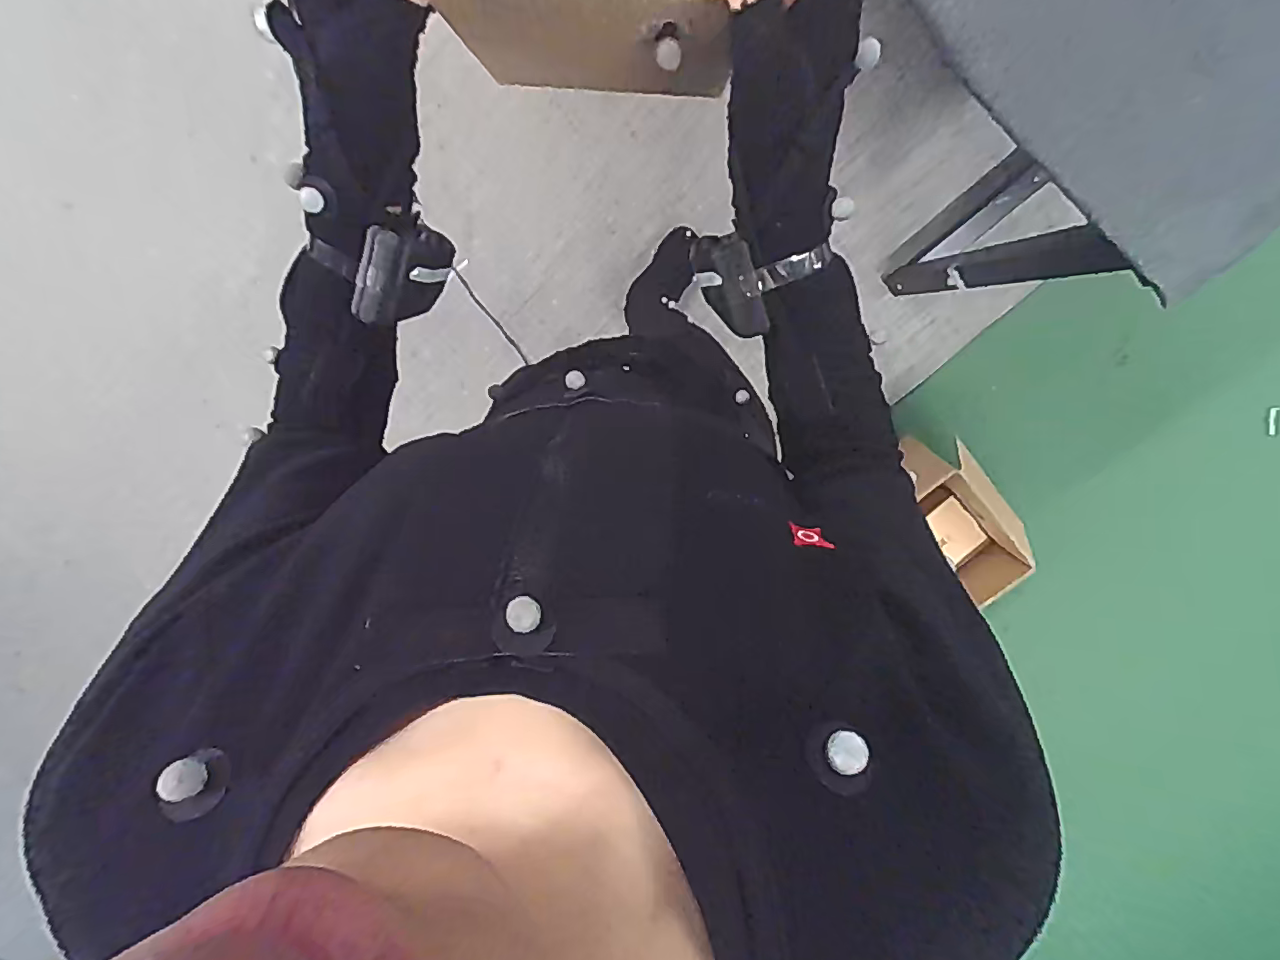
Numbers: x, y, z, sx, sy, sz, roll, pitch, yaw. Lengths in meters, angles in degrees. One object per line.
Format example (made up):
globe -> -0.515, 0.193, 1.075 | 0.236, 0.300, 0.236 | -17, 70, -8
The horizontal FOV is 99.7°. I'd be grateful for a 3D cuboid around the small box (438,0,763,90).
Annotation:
small box -> -0.018, -0.346, 0.309 | 0.179, 0.176, 0.168 | 4, 112, 0
